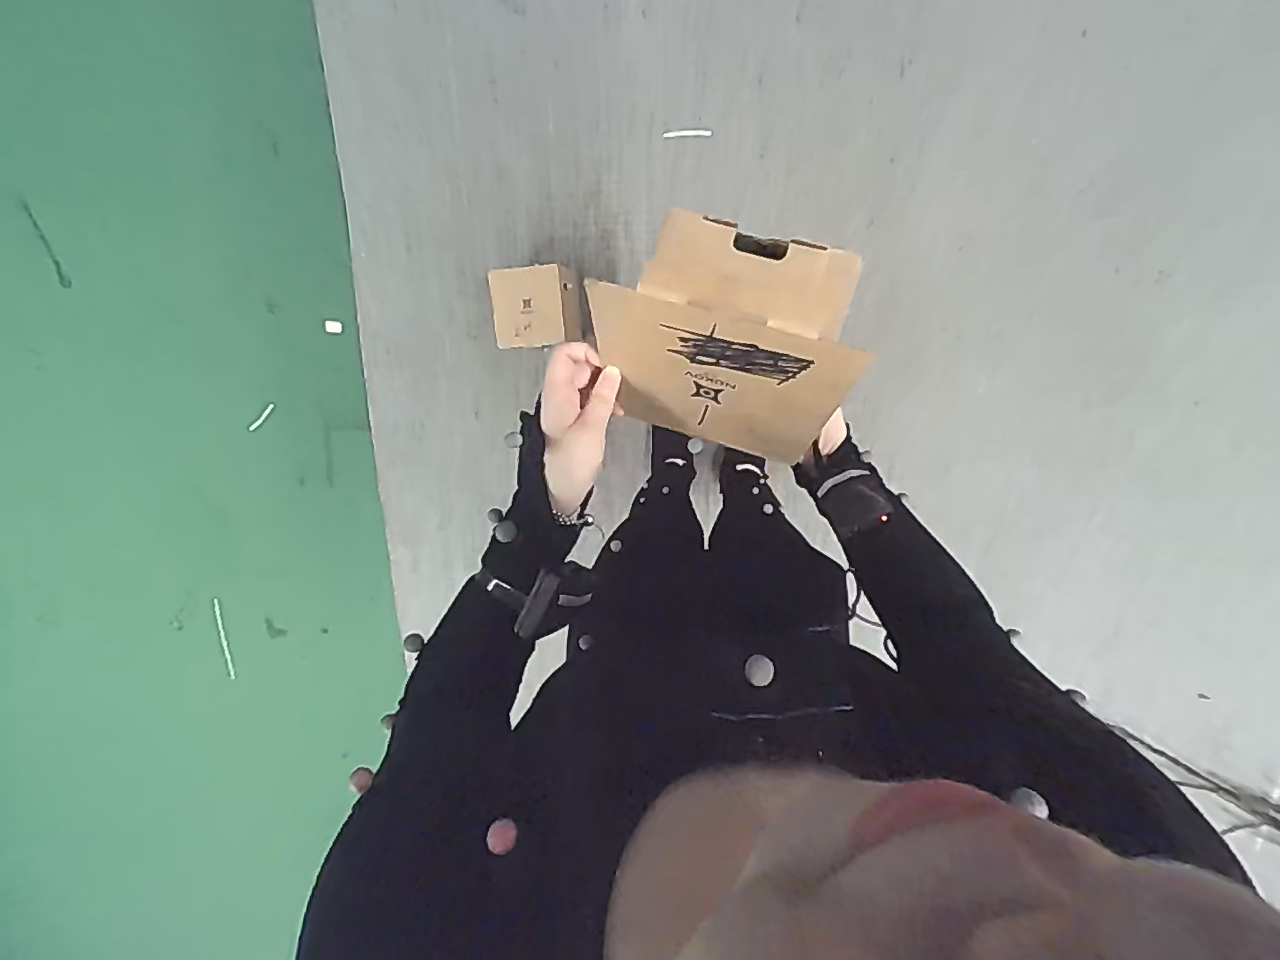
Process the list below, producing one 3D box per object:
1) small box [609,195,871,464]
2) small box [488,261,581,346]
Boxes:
[{"bbox_3d":[0.086,-0.126,0.507,0.168,0.176,0.179,19,98,7],"label":"small box"},{"bbox_3d":[-0.243,-0.412,1.287,0.168,0.176,0.179,-2,105,9],"label":"small box"}]
